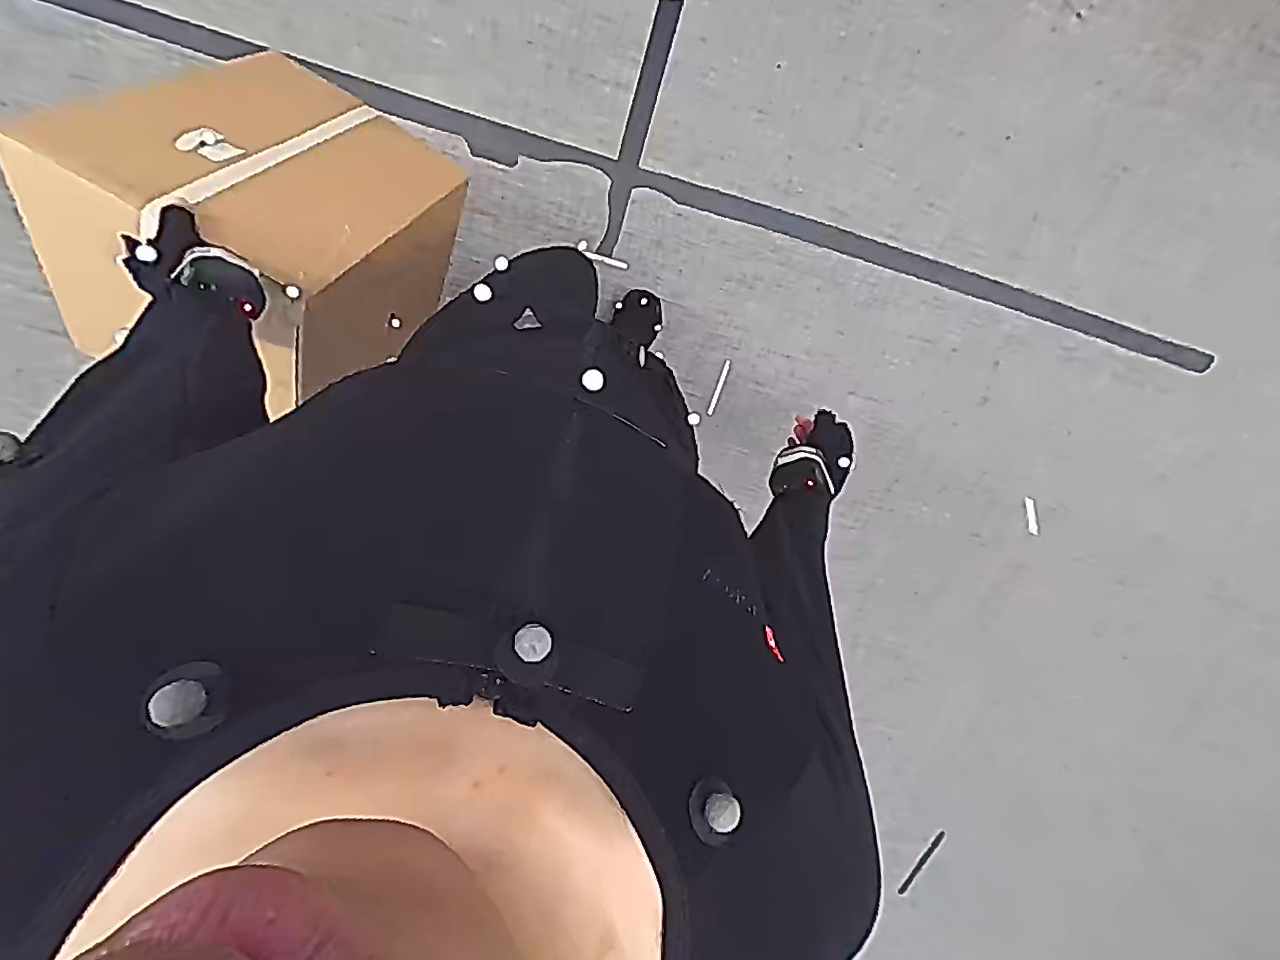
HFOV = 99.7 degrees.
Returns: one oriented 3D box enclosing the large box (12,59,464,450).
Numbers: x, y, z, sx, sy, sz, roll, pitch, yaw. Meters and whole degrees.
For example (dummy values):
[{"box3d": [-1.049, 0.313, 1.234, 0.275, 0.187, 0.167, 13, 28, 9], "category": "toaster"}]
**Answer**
[{"box3d": [-0.520, -0.328, 0.804, 0.320, 0.408, 0.320, 29, 138, -11], "category": "large box"}]
